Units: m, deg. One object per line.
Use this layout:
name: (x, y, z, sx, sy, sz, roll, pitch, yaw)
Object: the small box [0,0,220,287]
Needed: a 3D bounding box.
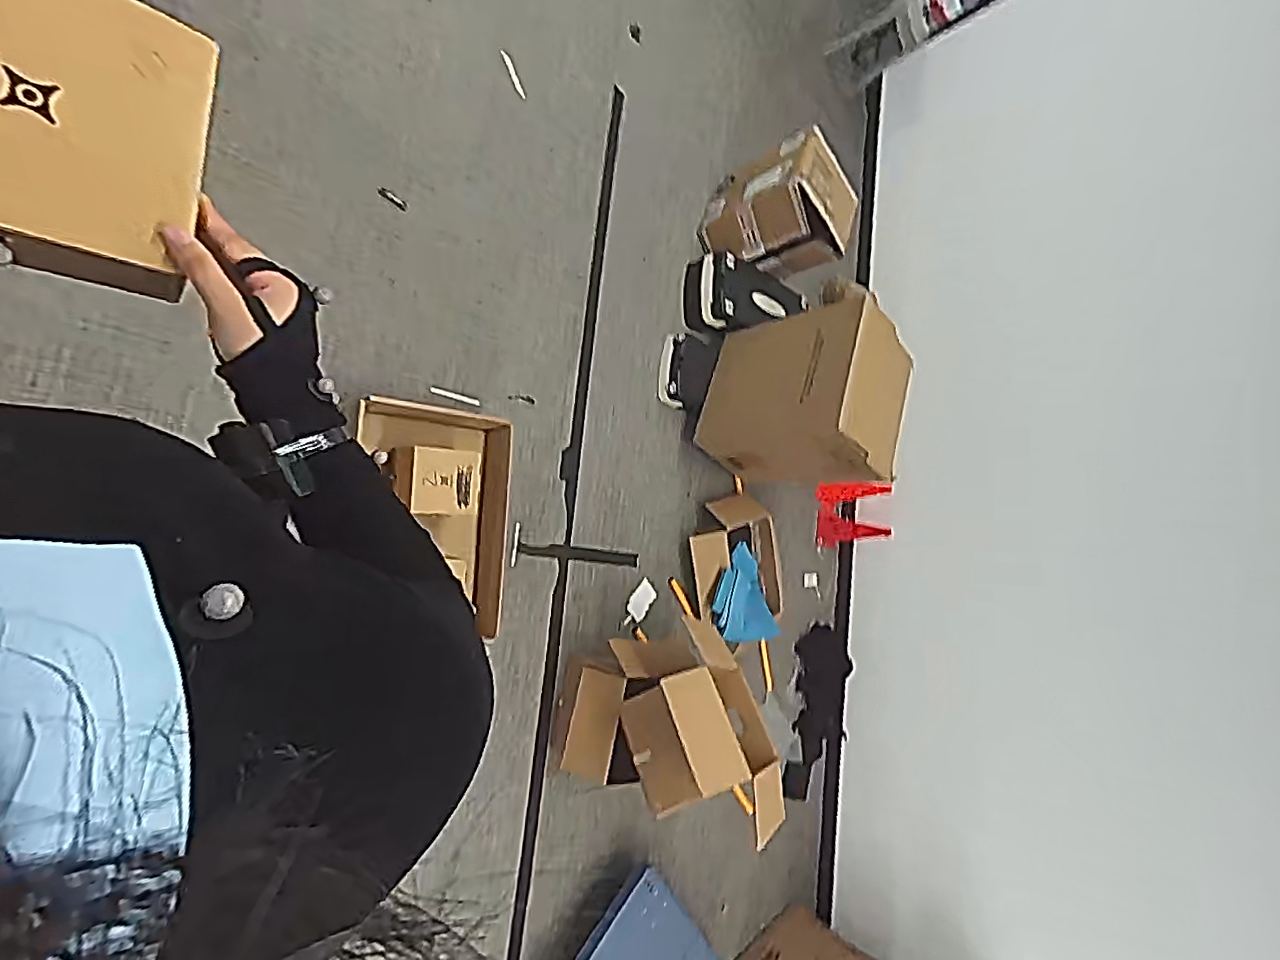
small box: (-0.422, -0.246, 0.380, 0.179, 0.176, 0.168, 7, 93, -42)
